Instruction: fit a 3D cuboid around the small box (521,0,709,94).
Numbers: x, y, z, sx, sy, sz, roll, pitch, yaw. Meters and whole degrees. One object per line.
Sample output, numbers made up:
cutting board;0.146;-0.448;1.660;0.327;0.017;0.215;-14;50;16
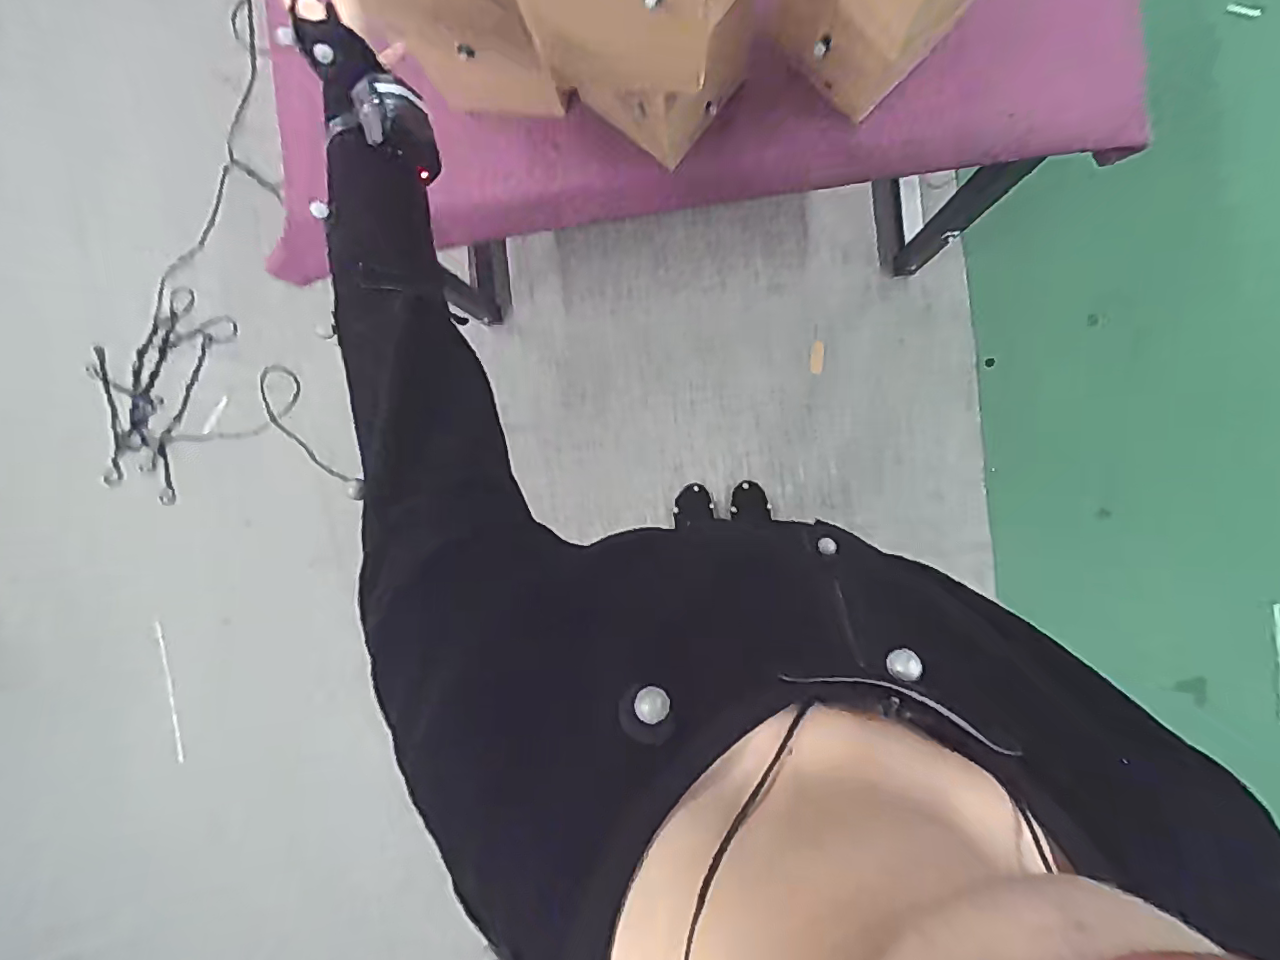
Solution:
small box;-0.022;-0.517;0.532;0.179;0.176;0.168;6;93;6

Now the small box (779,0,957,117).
small box;0.286;-0.600;0.656;0.179;0.176;0.168;-45;86;7

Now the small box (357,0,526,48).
small box;-0.214;-0.584;0.552;0.179;0.176;0.168;5;92;7

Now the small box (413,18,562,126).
small box;-0.198;-0.609;0.716;0.179;0.176;0.168;11;92;0

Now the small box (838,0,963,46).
small box;0.270;-0.555;0.493;0.168;0.176;0.179;-38;86;6
